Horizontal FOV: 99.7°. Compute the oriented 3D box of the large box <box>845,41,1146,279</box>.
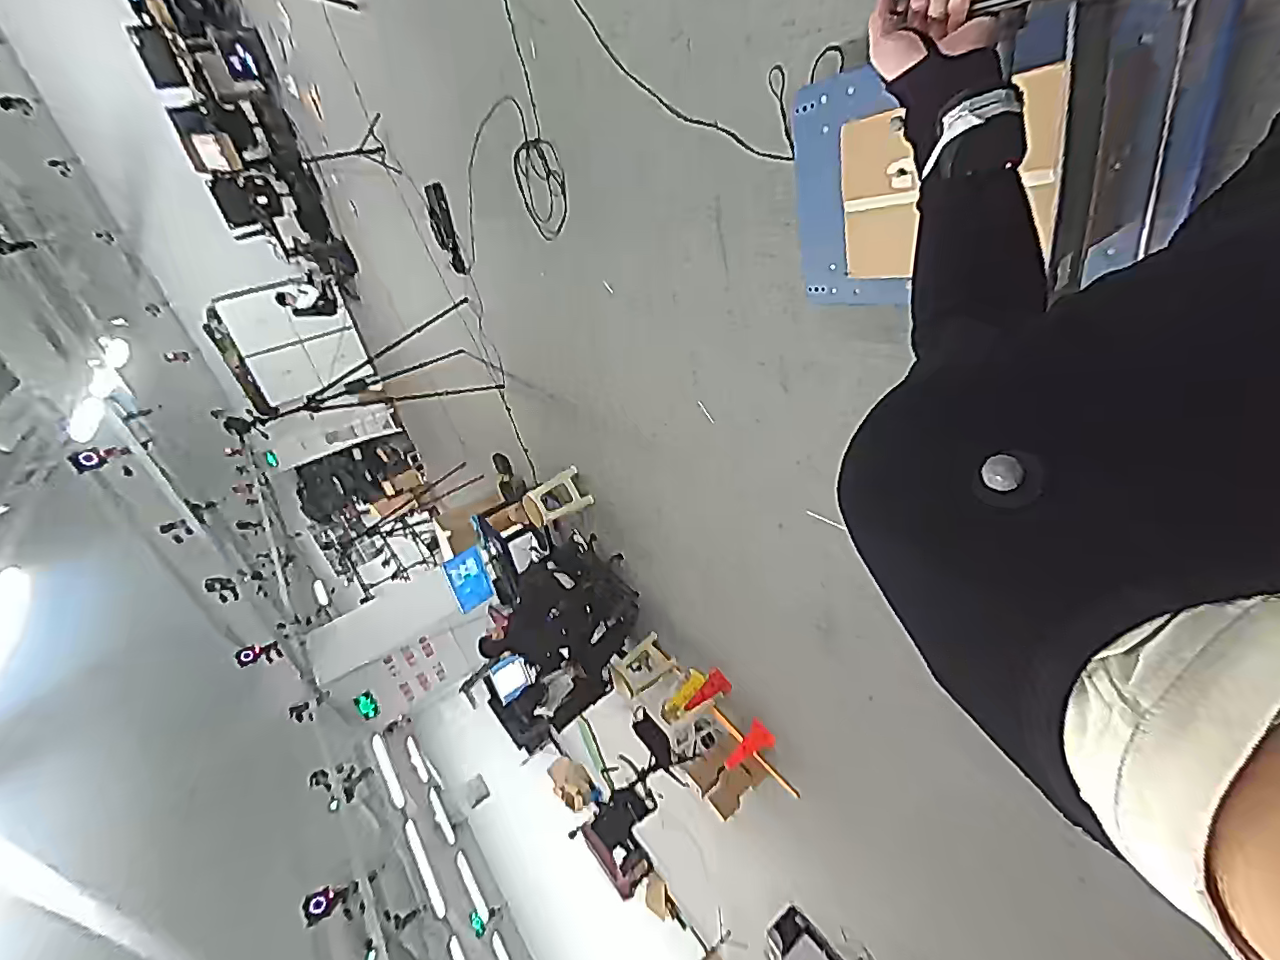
[{"bbox_3d":[0.688,-0.614,1.089,0.408,0.320,0.320,24,135,51],"label":"large box"}]
